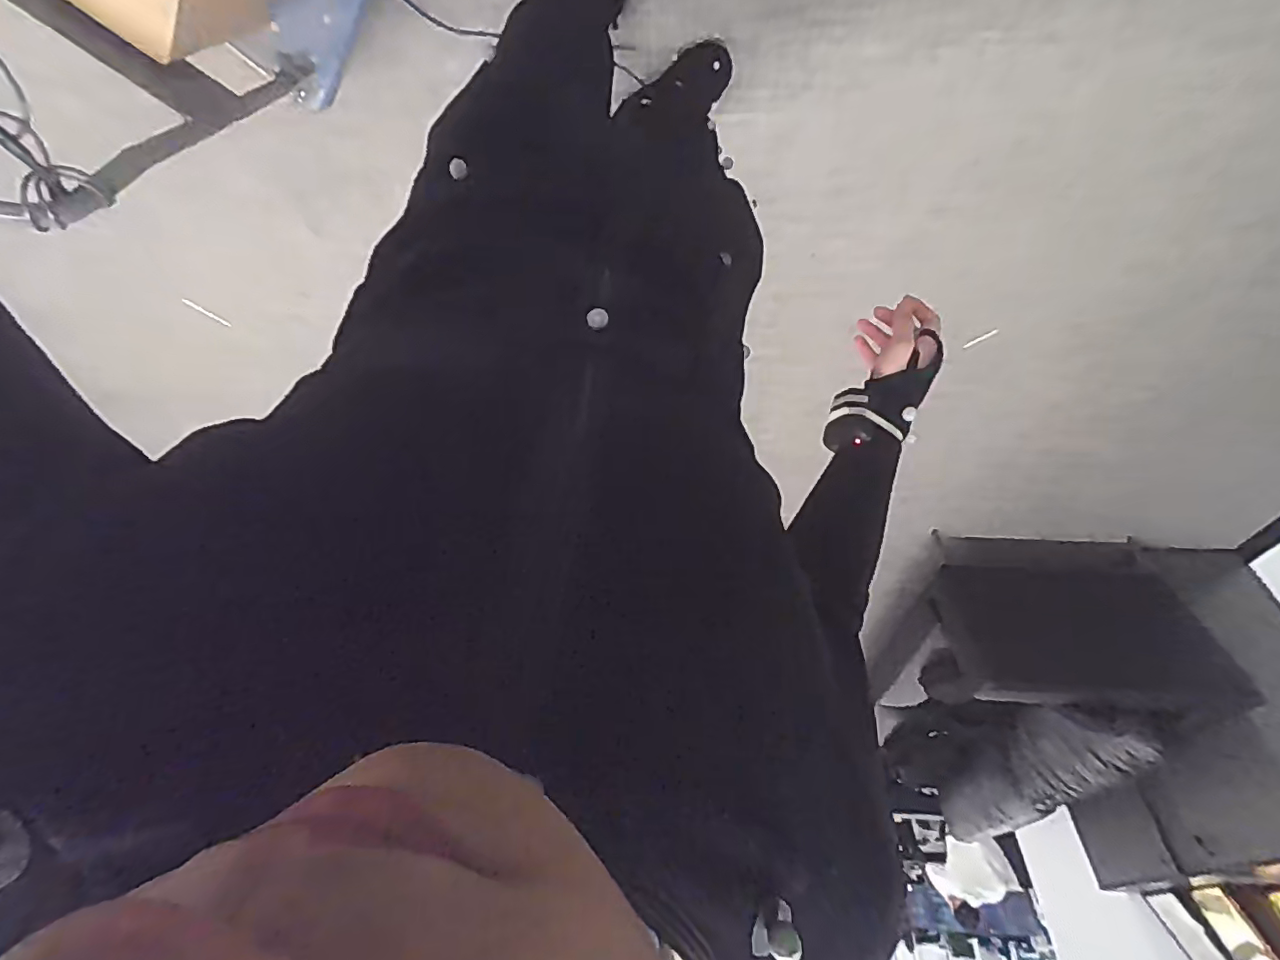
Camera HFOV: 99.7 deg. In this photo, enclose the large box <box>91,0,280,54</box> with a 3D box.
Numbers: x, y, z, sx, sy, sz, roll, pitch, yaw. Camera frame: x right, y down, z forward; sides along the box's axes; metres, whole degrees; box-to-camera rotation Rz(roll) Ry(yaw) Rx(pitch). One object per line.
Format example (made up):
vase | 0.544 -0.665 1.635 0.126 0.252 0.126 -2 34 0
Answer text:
large box | -0.669 -0.900 0.715 0.320 0.320 0.408 32 131 -28
